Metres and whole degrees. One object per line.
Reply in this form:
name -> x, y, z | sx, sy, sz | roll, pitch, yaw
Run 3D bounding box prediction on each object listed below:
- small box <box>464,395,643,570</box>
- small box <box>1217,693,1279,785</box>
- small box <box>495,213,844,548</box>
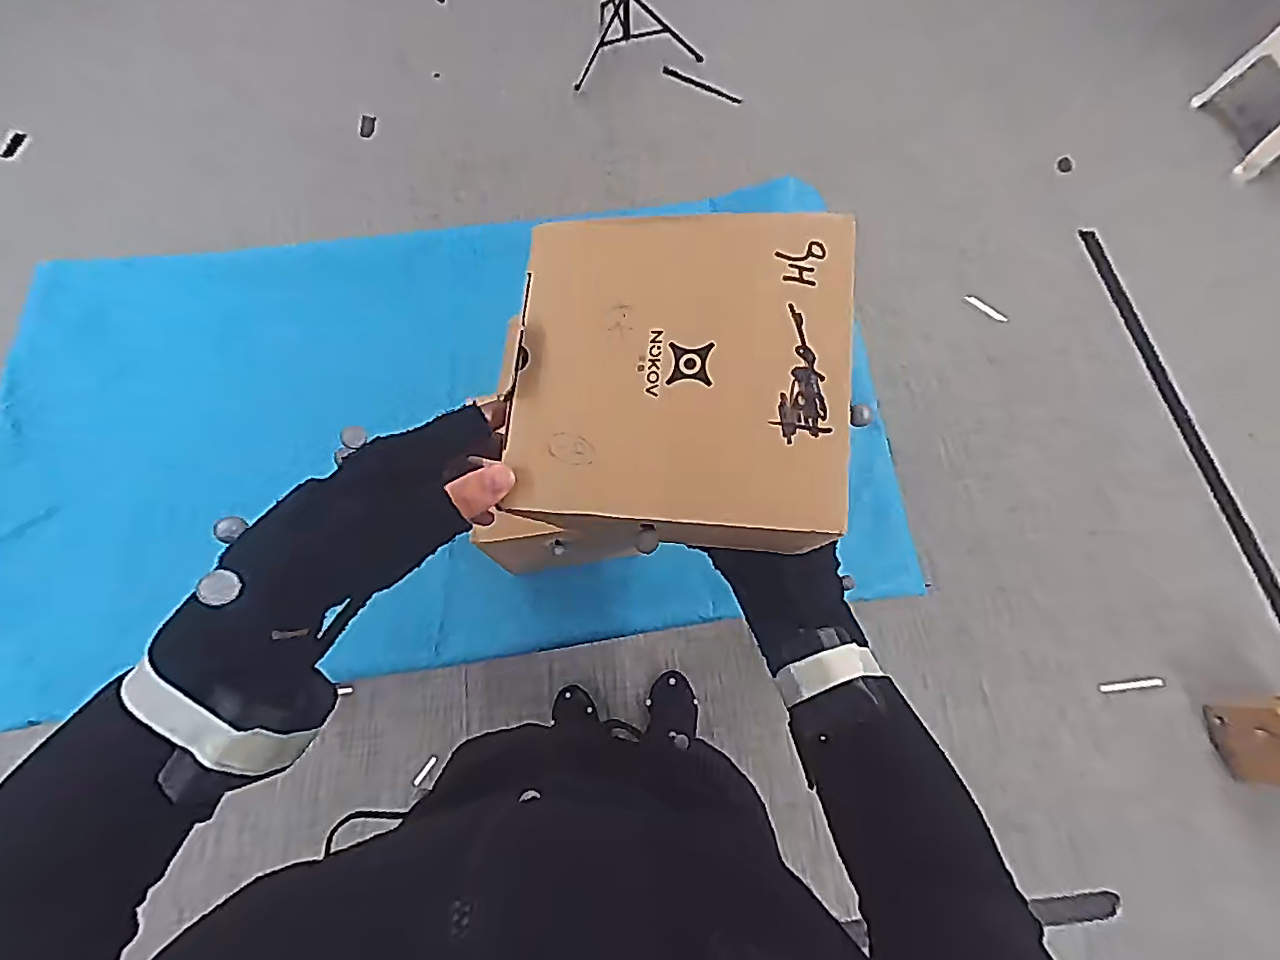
small box -> -0.093, 0.005, 0.639 | 0.179, 0.176, 0.168 | -8, 71, -1
small box -> 1.424, 0.560, 1.167 | 0.179, 0.176, 0.168 | -8, 71, -2
small box -> 0.028, -0.045, 0.356 | 0.179, 0.176, 0.168 | 2, 80, 10
